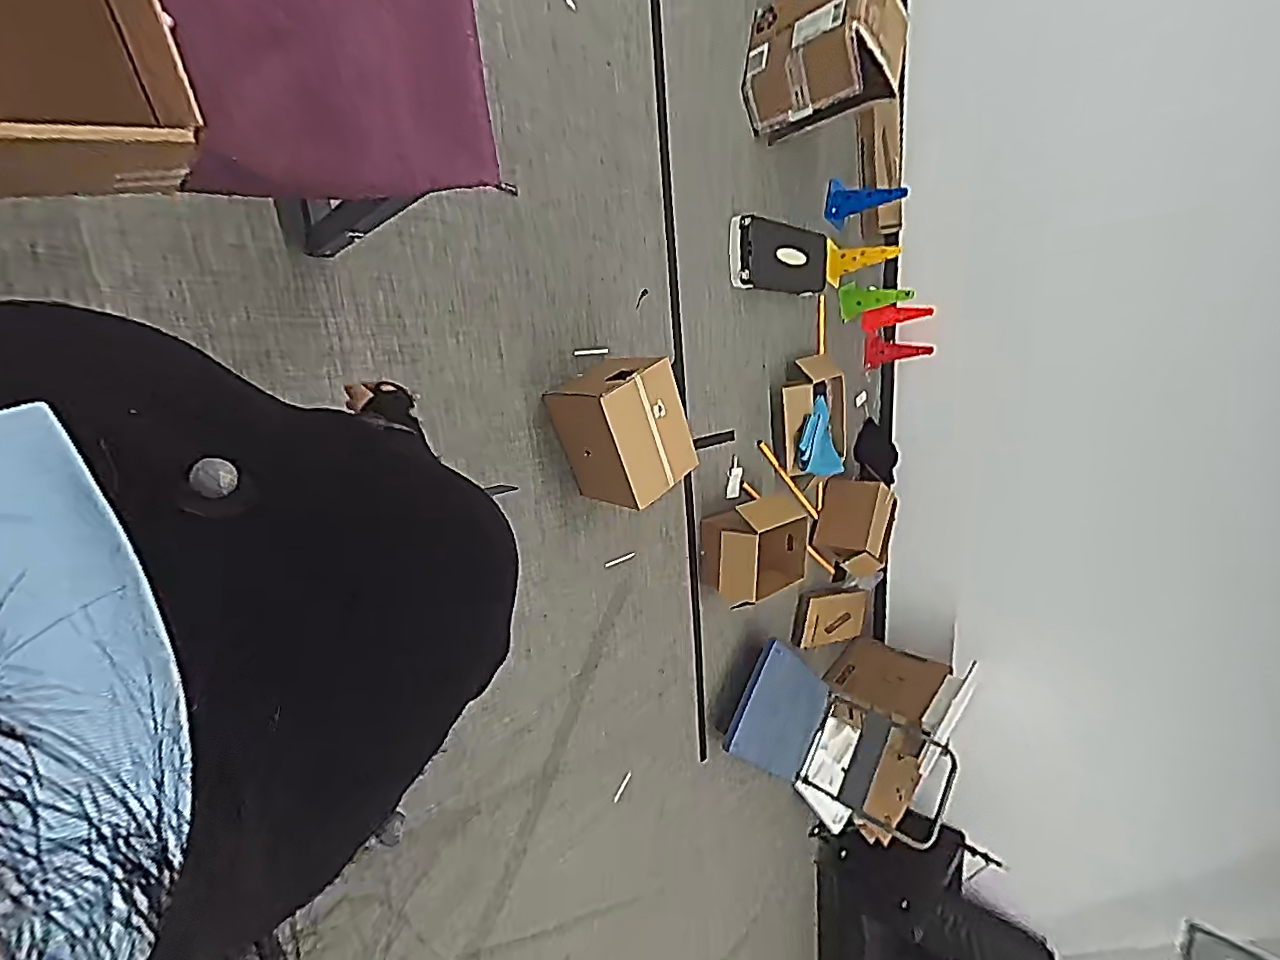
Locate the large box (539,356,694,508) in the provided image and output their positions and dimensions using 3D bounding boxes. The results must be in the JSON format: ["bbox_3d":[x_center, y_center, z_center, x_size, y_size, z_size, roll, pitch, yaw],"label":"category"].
[{"bbox_3d":[-0.073,-0.169,1.827,0.320,0.320,0.408,-39,121,-33],"label":"large box"}]
